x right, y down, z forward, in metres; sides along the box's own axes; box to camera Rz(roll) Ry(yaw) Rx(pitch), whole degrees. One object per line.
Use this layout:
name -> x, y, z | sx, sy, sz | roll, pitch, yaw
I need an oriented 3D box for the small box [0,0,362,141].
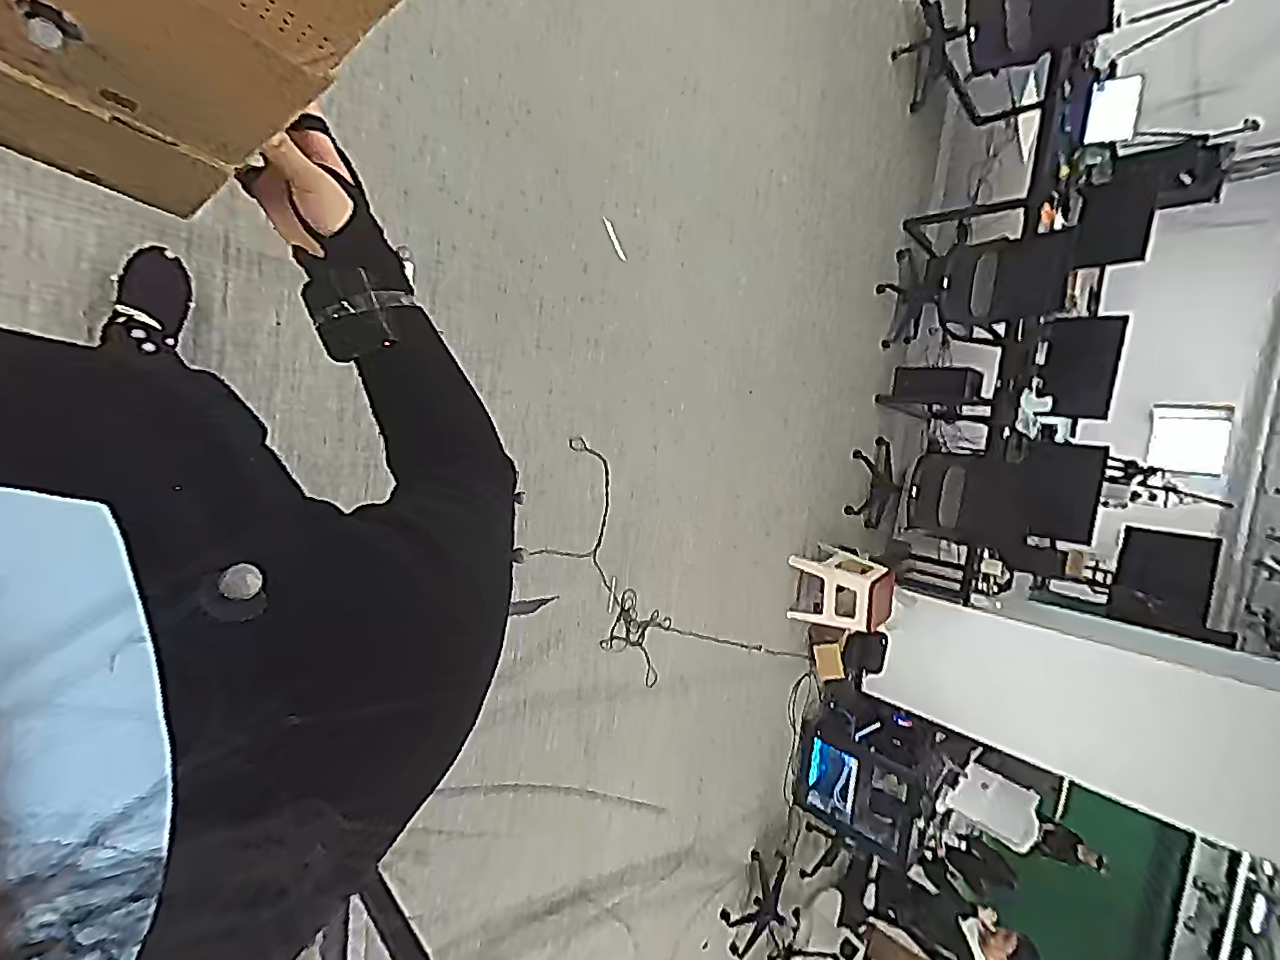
small box -> -0.228, -0.294, 0.241 | 0.168, 0.176, 0.179 | 10, 89, -50
